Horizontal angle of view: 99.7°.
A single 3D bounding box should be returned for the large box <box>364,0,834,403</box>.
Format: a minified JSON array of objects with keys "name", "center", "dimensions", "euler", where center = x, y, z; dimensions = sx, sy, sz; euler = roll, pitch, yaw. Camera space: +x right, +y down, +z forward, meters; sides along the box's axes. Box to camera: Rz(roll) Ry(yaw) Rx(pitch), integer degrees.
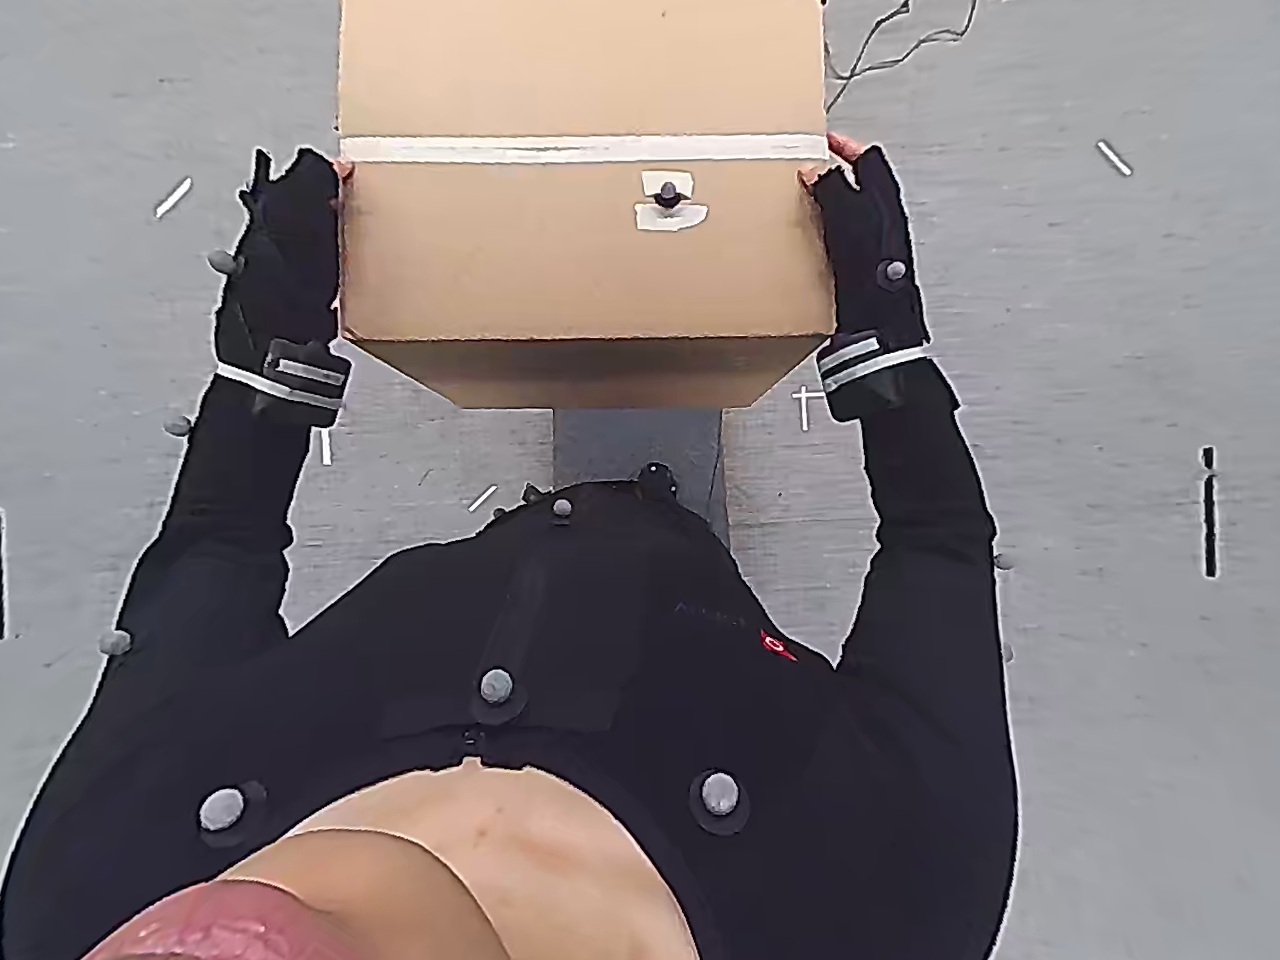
[{"name":"large box","center":[-0.042,-0.273,0.613],"dimensions":[0.408,0.320,0.320],"euler":[-1,87,-2]}]
